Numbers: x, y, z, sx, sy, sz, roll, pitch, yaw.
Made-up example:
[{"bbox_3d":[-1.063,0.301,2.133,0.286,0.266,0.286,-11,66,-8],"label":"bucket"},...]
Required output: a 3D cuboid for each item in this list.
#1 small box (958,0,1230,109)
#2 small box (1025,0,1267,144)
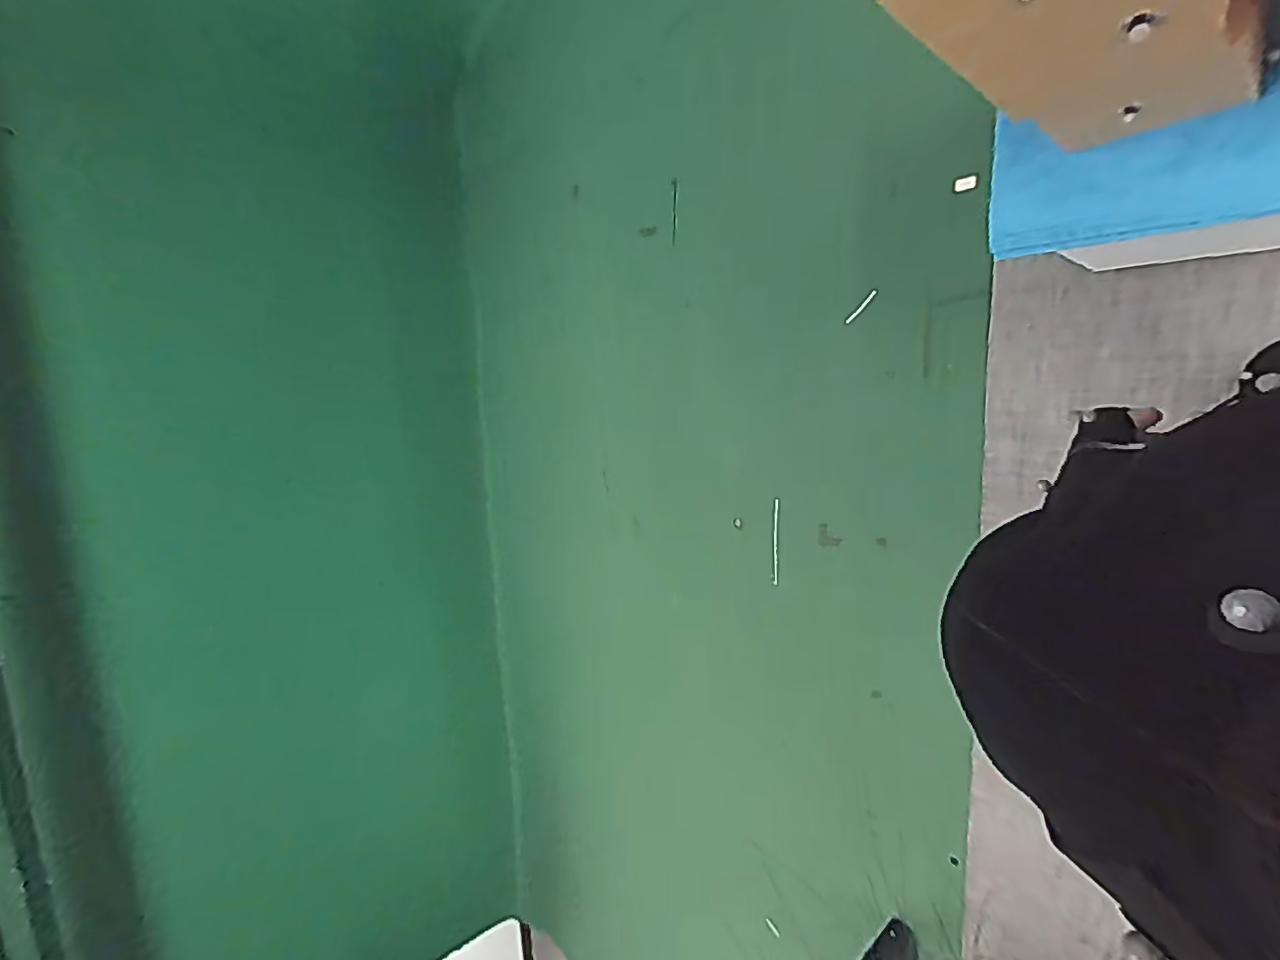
[{"bbox_3d":[0.427,-0.487,0.502,0.179,0.176,0.168,9,103,50],"label":"small box"},{"bbox_3d":[0.560,-0.507,0.597,0.179,0.176,0.168,9,103,50],"label":"small box"}]
